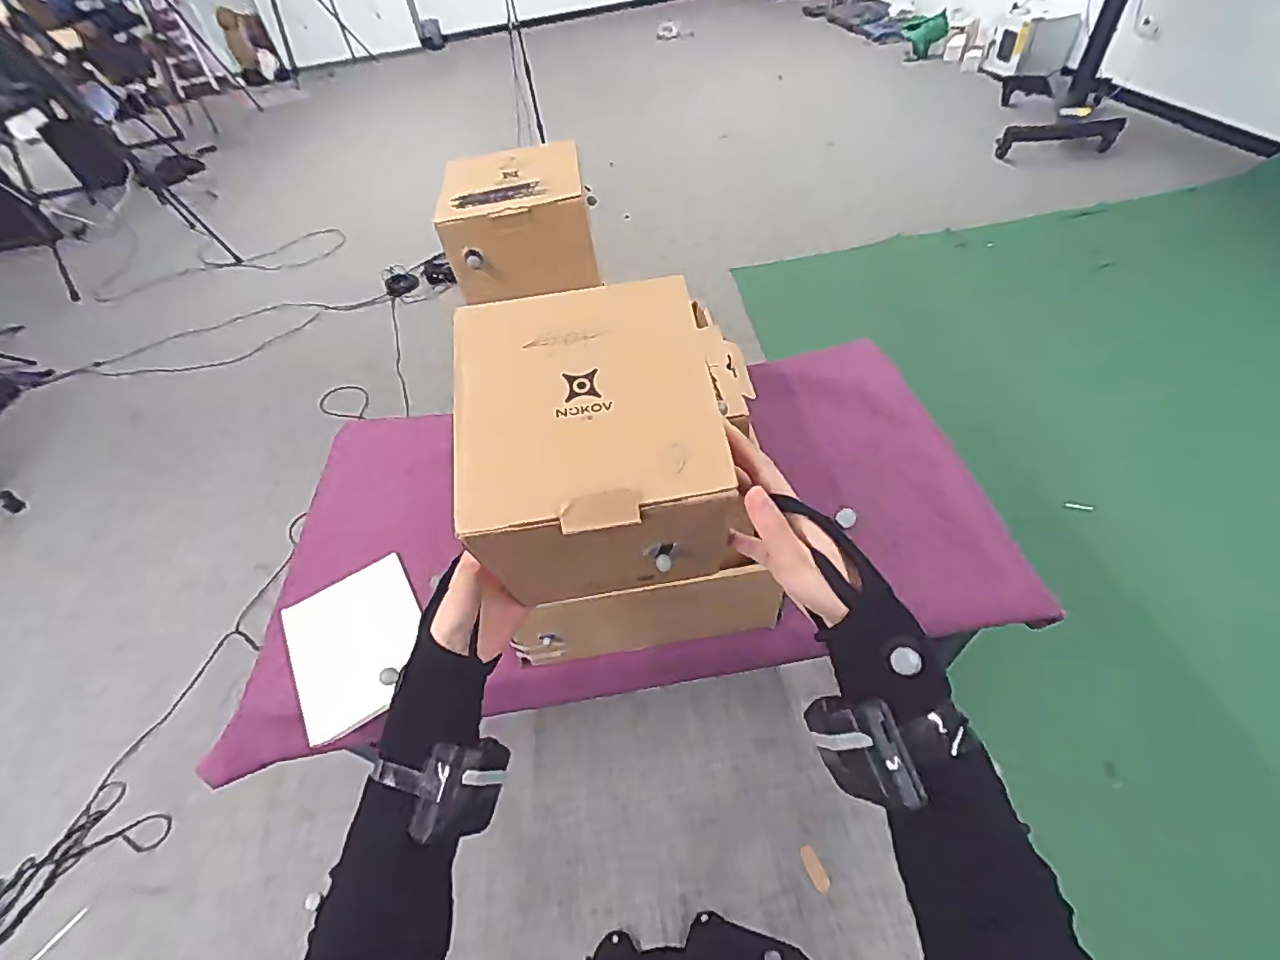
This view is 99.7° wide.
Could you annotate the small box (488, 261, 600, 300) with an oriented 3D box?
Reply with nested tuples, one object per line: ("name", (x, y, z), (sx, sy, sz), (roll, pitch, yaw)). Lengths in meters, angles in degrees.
("small box", (-0.128, -0.203, 0.831), (0.168, 0.176, 0.179), (-8, 50, 2))

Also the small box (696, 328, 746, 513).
("small box", (0.030, -0.060, 0.674), (0.179, 0.176, 0.168), (-10, 48, 4))

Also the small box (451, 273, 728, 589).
("small box", (-0.034, -0.024, 0.417), (0.168, 0.176, 0.179), (-8, 62, -2))
